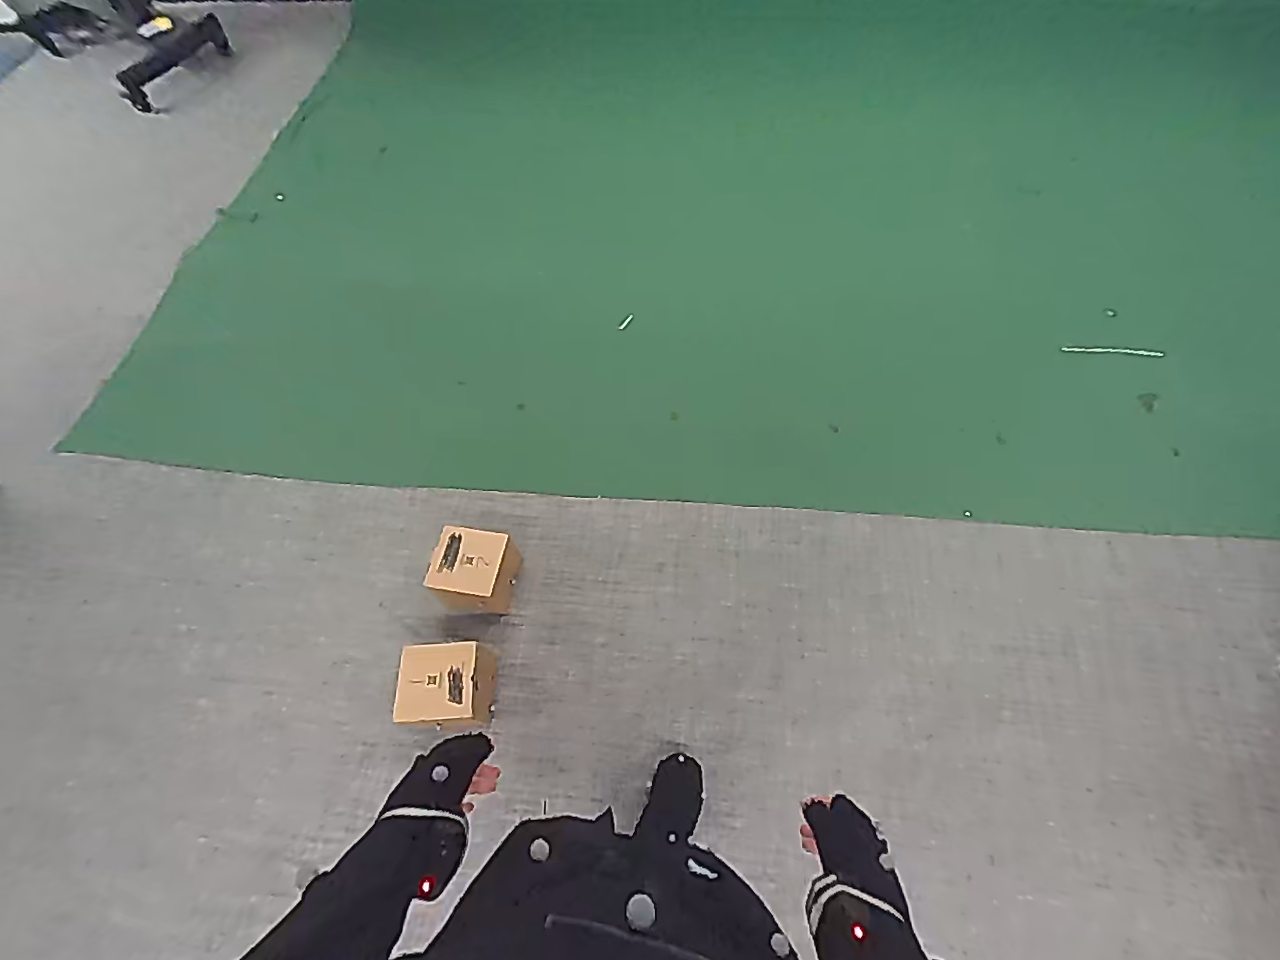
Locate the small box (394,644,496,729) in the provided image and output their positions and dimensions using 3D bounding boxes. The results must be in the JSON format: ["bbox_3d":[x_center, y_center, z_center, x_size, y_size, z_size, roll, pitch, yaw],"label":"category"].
[{"bbox_3d":[-0.449,0.491,1.276,0.179,0.176,0.168,-4,61,1],"label":"small box"}]
